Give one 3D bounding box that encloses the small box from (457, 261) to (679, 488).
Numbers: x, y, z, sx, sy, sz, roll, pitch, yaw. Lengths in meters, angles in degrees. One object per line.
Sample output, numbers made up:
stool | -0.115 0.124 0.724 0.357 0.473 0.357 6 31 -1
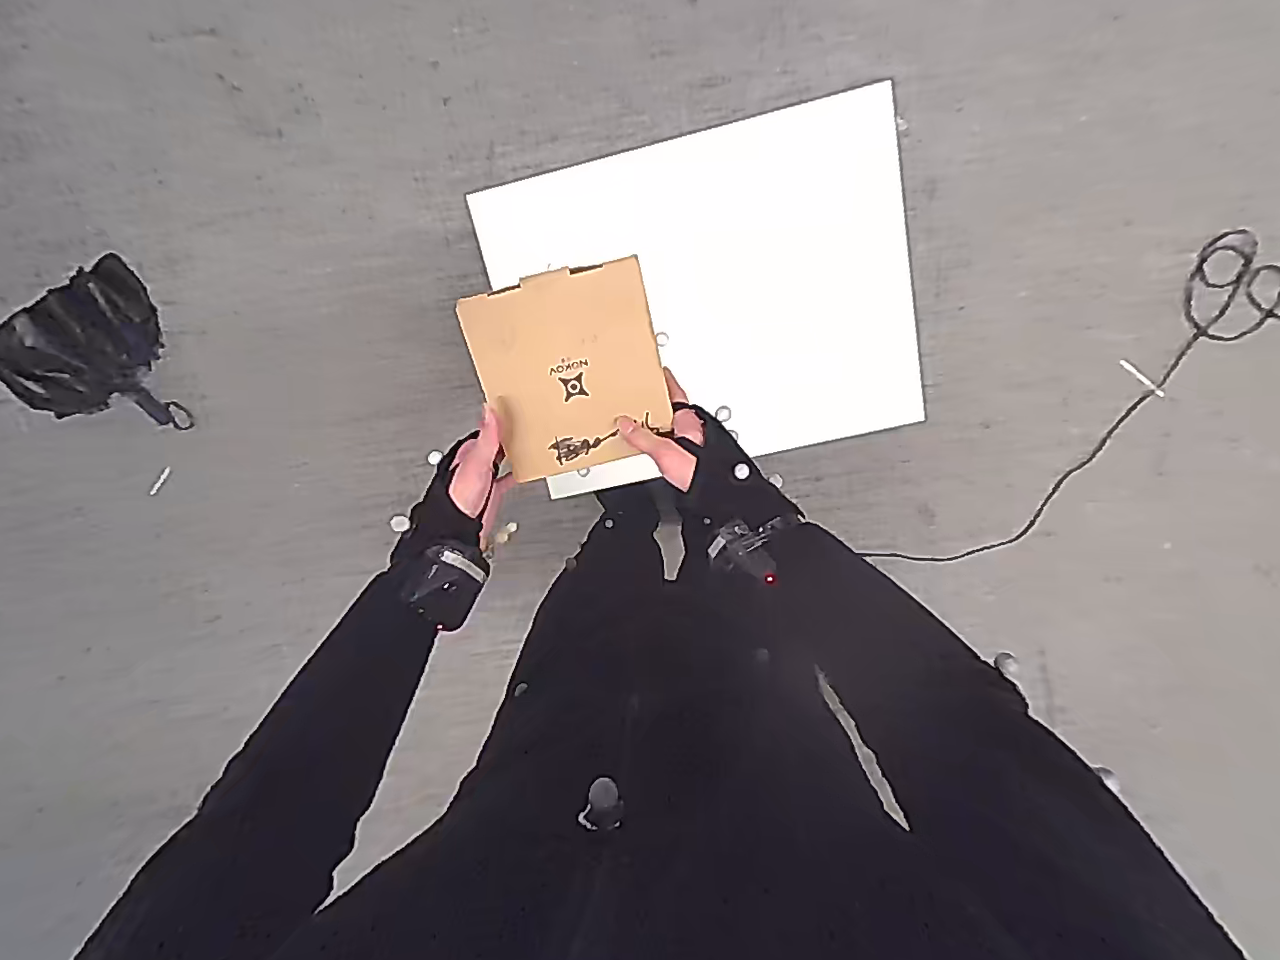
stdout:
small box | -0.064 -0.115 0.564 0.168 0.176 0.179 -14 110 4
